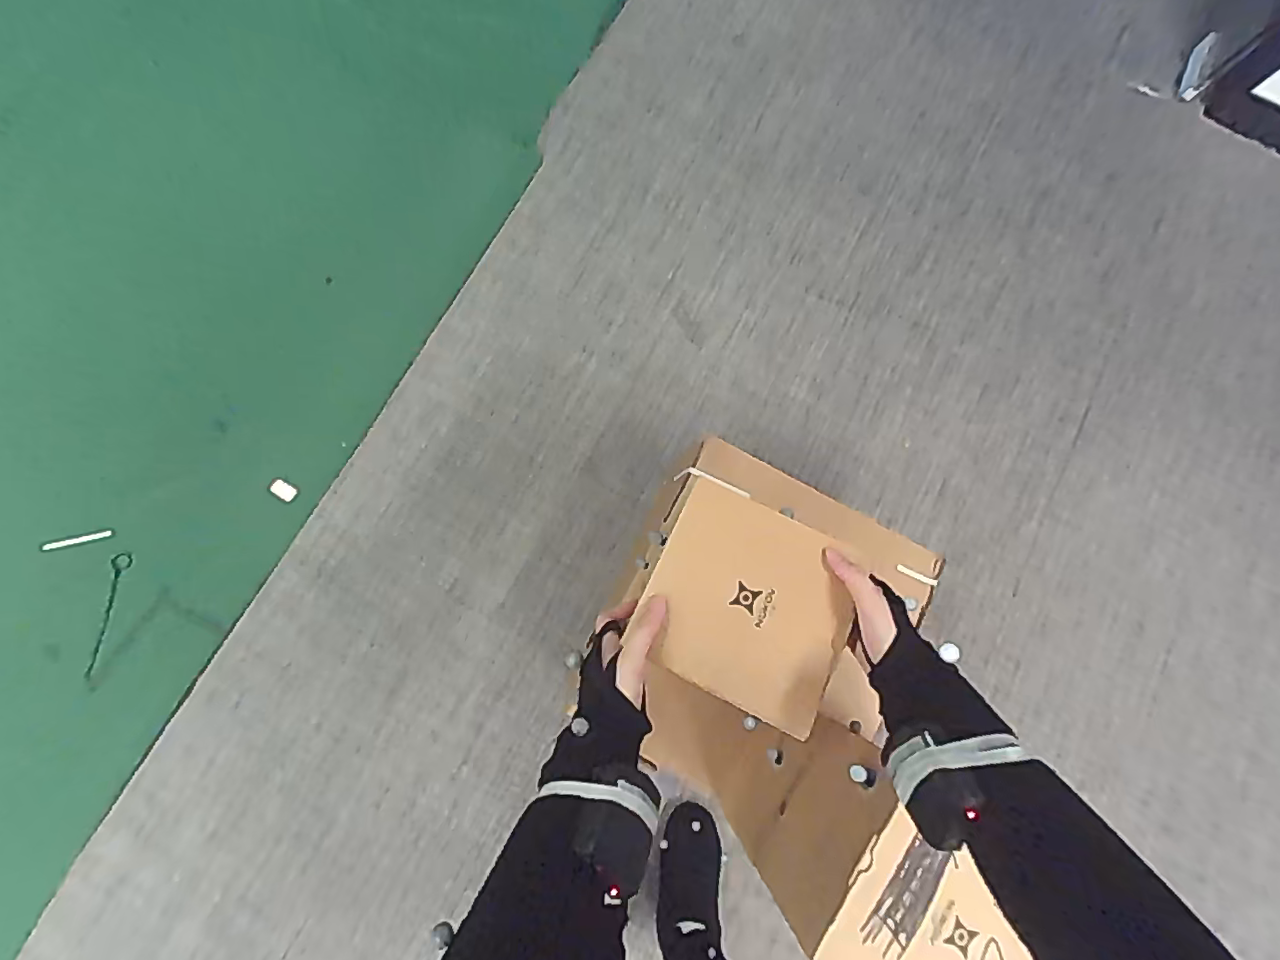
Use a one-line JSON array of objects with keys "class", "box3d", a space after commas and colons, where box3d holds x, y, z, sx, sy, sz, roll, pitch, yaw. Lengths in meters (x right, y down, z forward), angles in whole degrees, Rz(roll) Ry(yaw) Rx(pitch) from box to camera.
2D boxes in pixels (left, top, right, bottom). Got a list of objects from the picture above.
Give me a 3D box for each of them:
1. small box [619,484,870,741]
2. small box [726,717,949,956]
[{"class": "small box", "box3d": [0.088, 0.128, 0.543, 0.179, 0.176, 0.168, 26, 77, 2]}, {"class": "small box", "box3d": [0.225, 0.399, 0.662, 0.168, 0.176, 0.179, 32, 78, 2]}]
